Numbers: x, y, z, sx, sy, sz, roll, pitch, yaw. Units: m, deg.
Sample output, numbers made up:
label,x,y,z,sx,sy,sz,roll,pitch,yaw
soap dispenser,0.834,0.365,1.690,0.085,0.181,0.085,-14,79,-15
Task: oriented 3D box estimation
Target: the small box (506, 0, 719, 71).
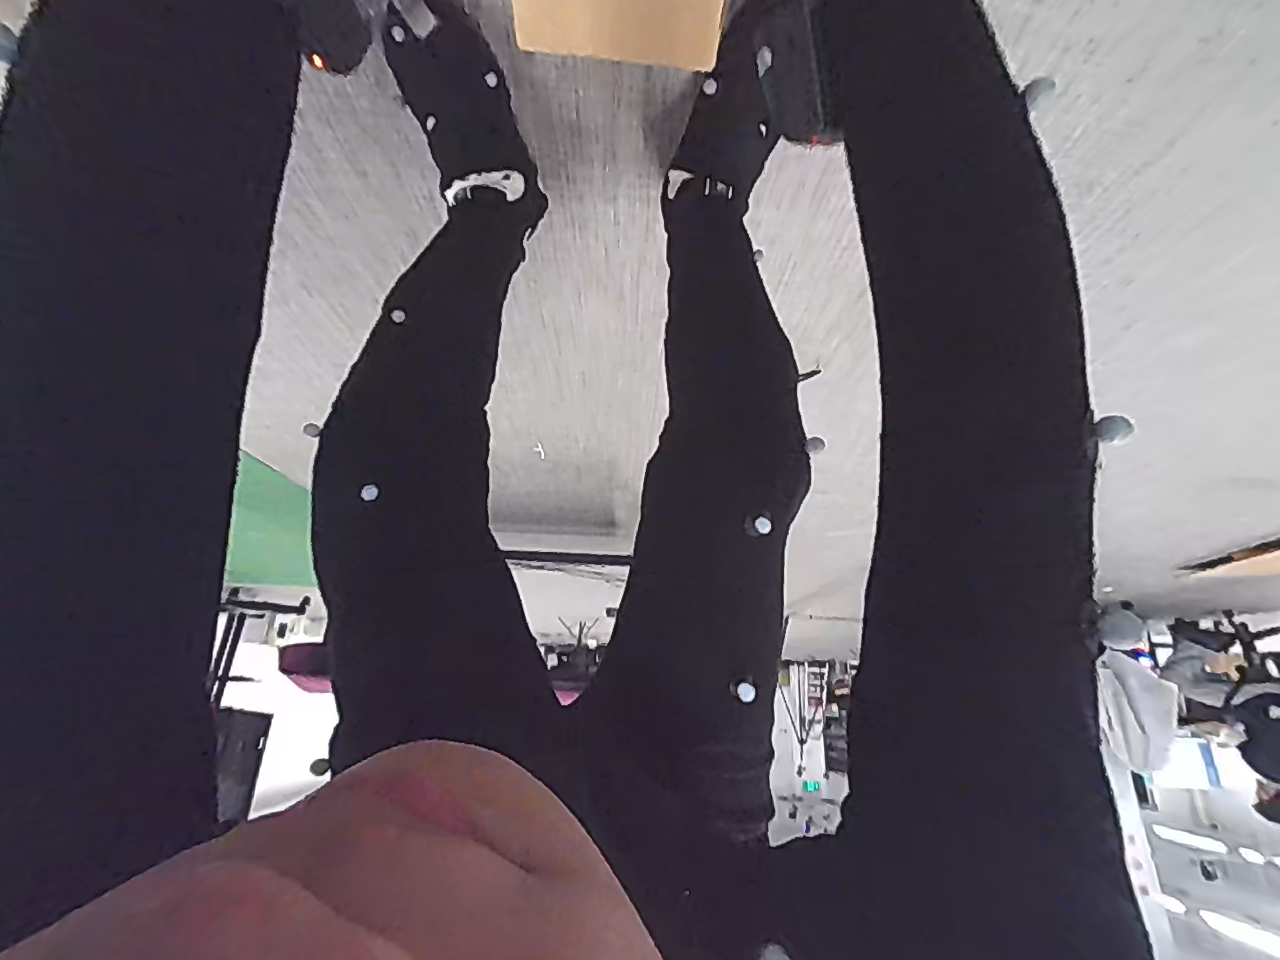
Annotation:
label,x,y,z,sx,sy,sz,roll,pitch,yaw
small box,-0.017,-0.476,0.434,0.179,0.176,0.168,3,159,-3
